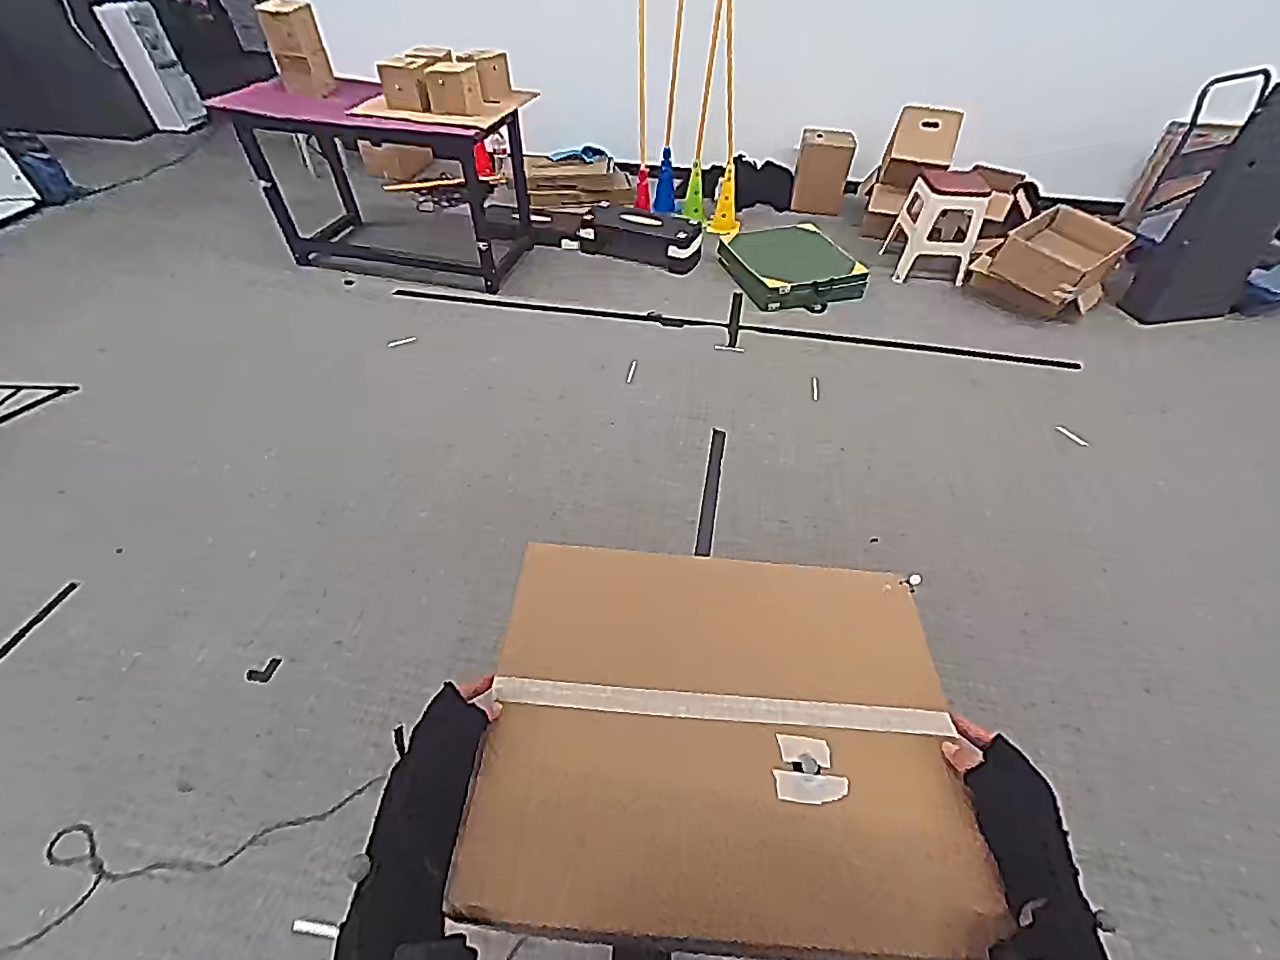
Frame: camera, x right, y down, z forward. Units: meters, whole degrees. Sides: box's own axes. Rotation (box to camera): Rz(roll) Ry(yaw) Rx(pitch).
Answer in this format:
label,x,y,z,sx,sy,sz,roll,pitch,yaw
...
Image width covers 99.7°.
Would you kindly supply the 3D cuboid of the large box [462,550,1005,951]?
label,x,y,z,sx,sy,sz,roll,pitch,yaw
large box,0.065,0.301,0.595,0.408,0.320,0.320,5,49,0
